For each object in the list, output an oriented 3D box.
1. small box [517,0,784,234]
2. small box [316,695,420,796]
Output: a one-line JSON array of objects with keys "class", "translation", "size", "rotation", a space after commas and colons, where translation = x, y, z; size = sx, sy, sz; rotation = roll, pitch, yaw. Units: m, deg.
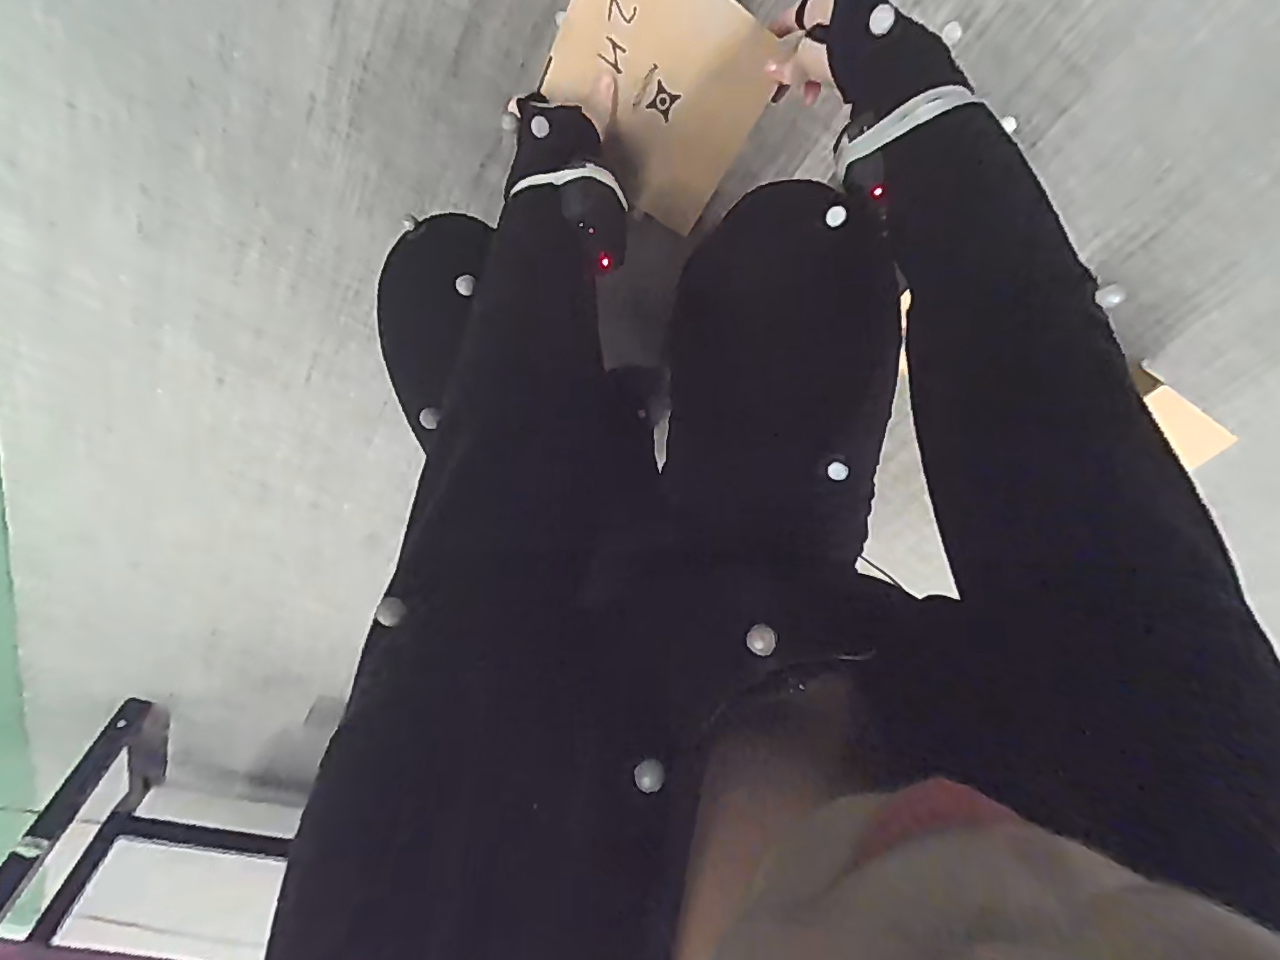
[{"class": "small box", "translation": [0.005, -0.380, 0.524], "size": [0.179, 0.176, 0.168], "rotation": [25, 124, -20]}, {"class": "small box", "translation": [-0.688, 0.676, 1.383], "size": [0.179, 0.176, 0.168], "rotation": [25, 124, -19]}]
